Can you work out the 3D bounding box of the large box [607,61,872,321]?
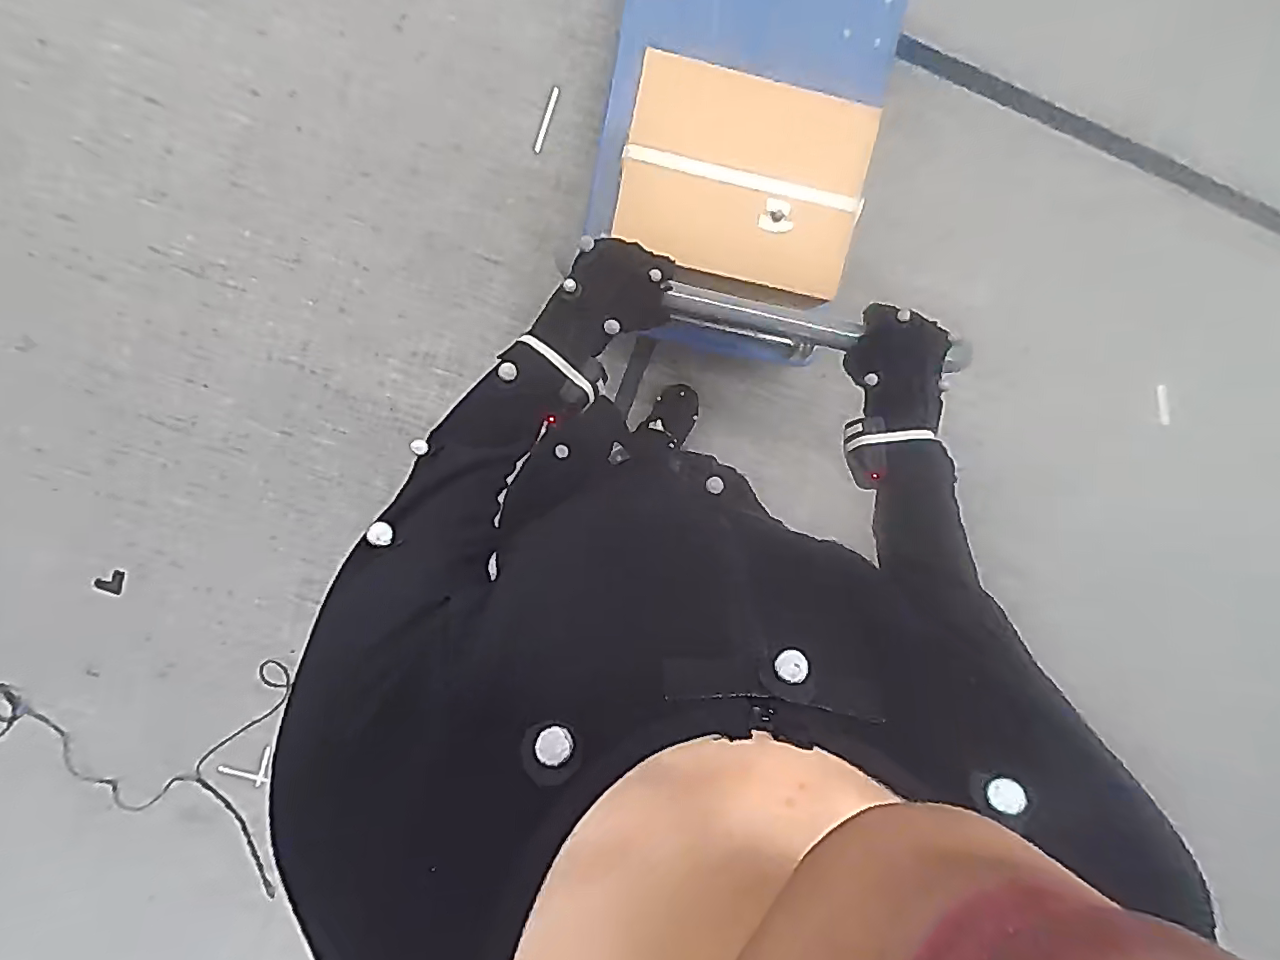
[{"bbox_3d":[0.155,-0.518,1.052,0.408,0.320,0.320,11,101,-6],"label":"large box"}]
